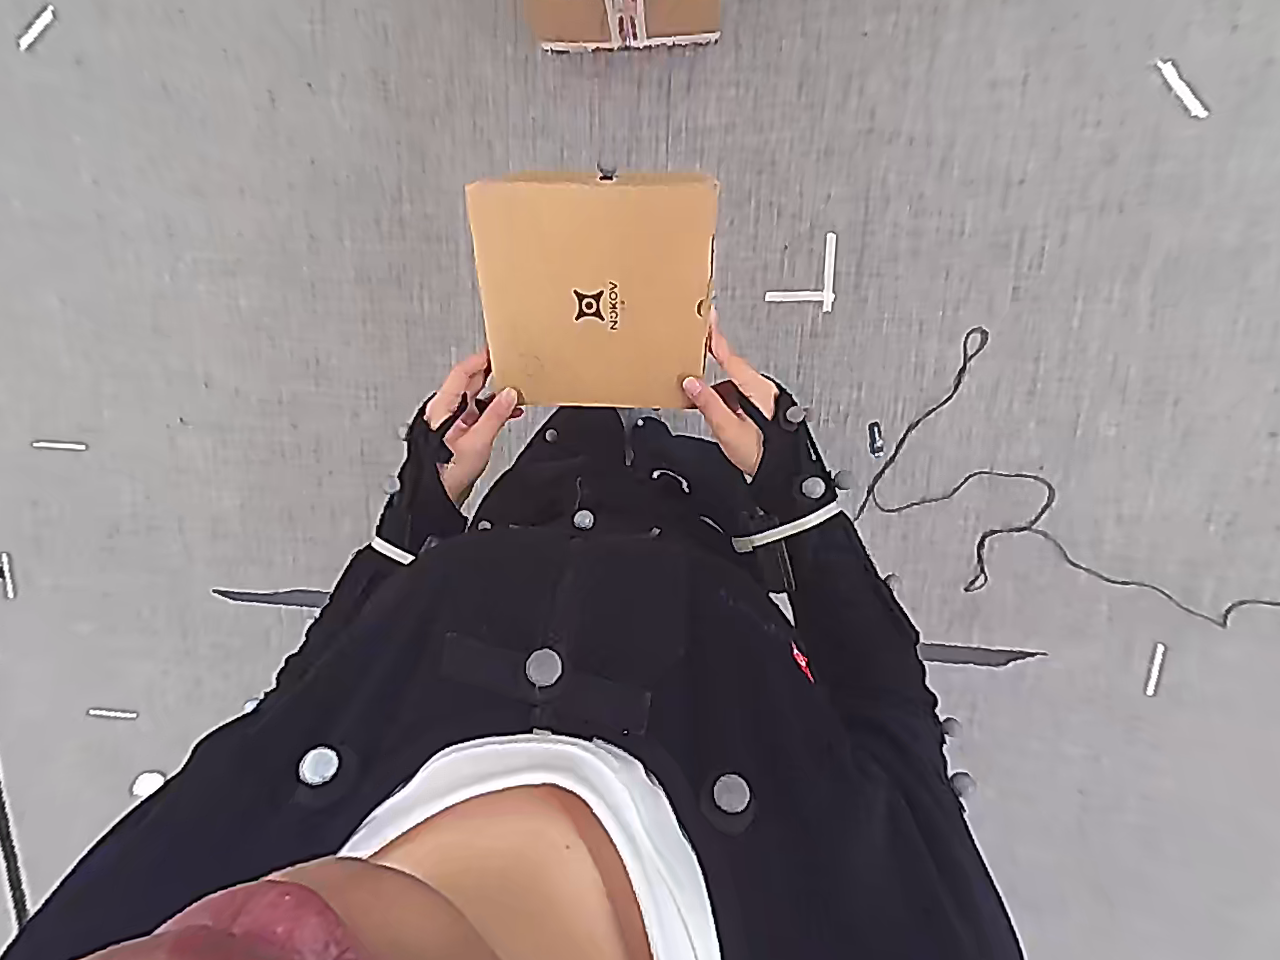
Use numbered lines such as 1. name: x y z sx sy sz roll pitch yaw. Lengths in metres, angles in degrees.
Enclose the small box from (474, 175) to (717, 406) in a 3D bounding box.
1. small box: -0.029 -0.177 0.489 0.179 0.176 0.168 2 121 2
